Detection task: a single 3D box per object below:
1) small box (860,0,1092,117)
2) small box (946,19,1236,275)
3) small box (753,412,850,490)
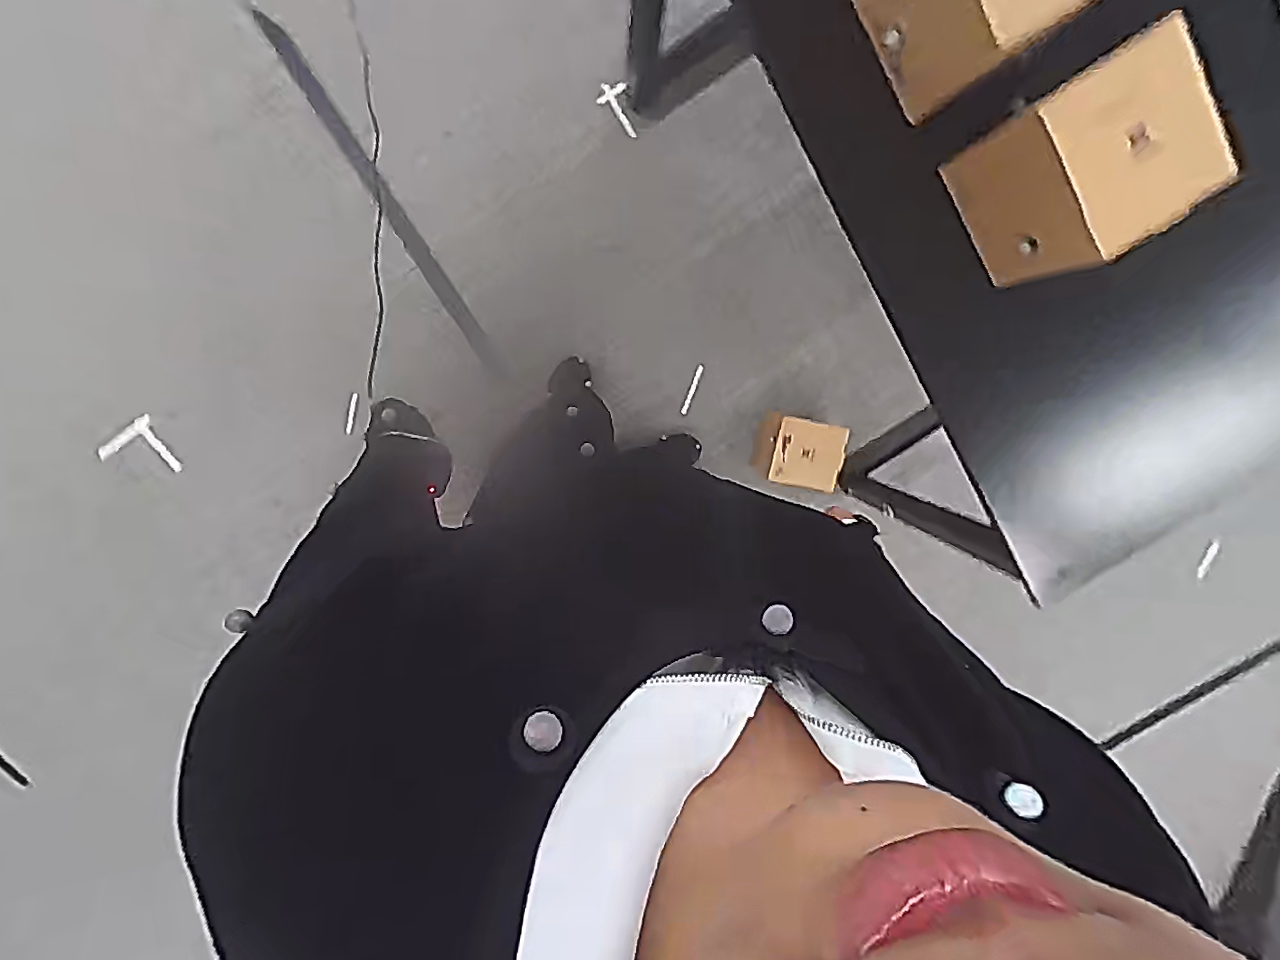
[{"bbox_3d":[0.380,-0.549,0.588,0.179,0.176,0.168,-32,101,4],"label":"small box"},{"bbox_3d":[0.509,-0.362,0.635,0.168,0.176,0.179,-33,100,2],"label":"small box"},{"bbox_3d":[0.417,-0.083,1.427,0.179,0.176,0.168,11,100,-5],"label":"small box"}]
